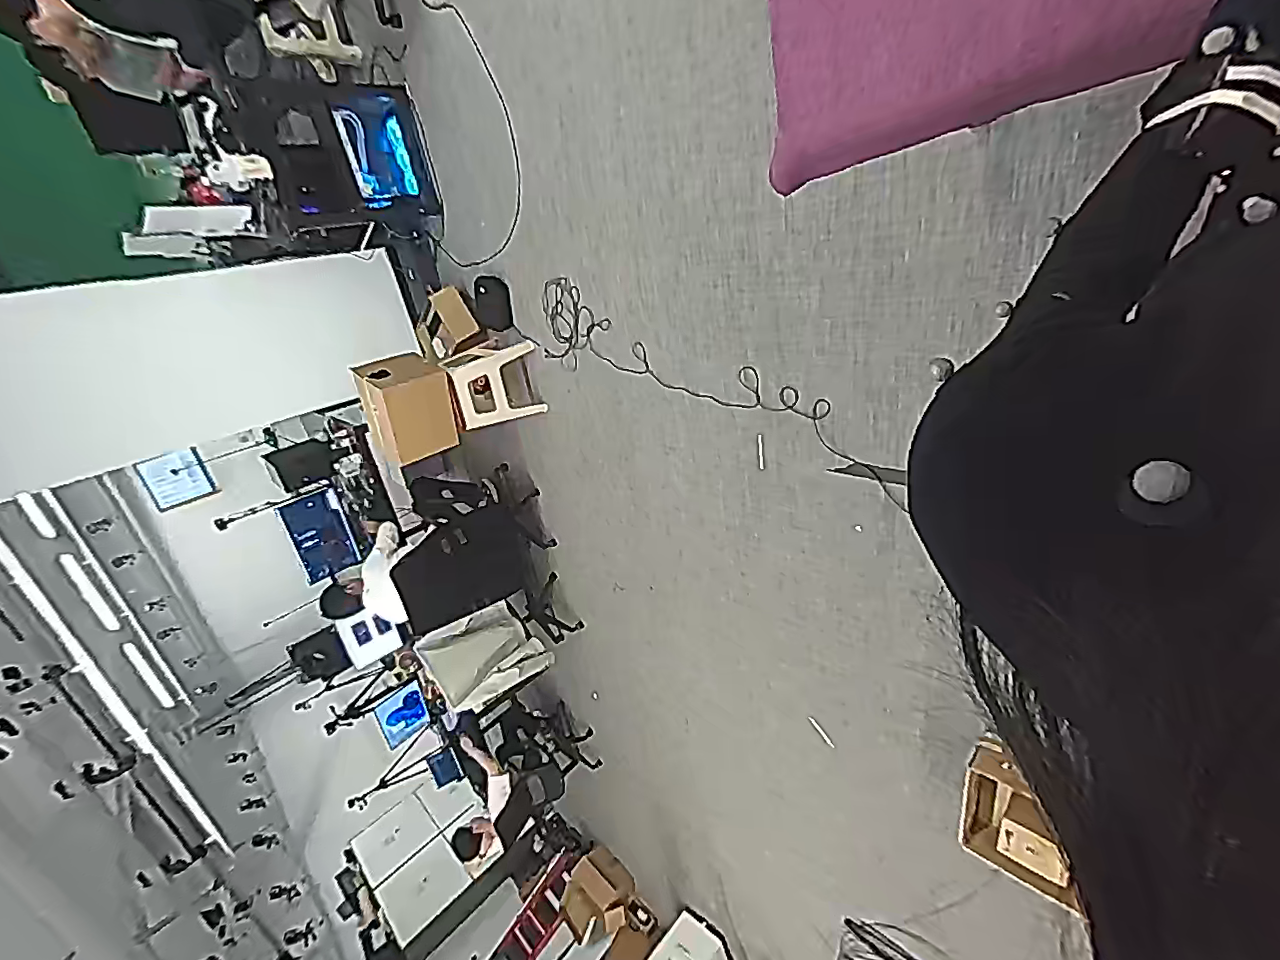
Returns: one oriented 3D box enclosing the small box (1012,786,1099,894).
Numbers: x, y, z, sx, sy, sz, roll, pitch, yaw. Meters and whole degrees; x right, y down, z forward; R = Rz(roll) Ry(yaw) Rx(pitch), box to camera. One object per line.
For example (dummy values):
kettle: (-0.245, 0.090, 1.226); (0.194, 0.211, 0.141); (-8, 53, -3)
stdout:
small box: (1.243, 1.064, 1.615); (0.179, 0.176, 0.168); (14, 122, 43)
